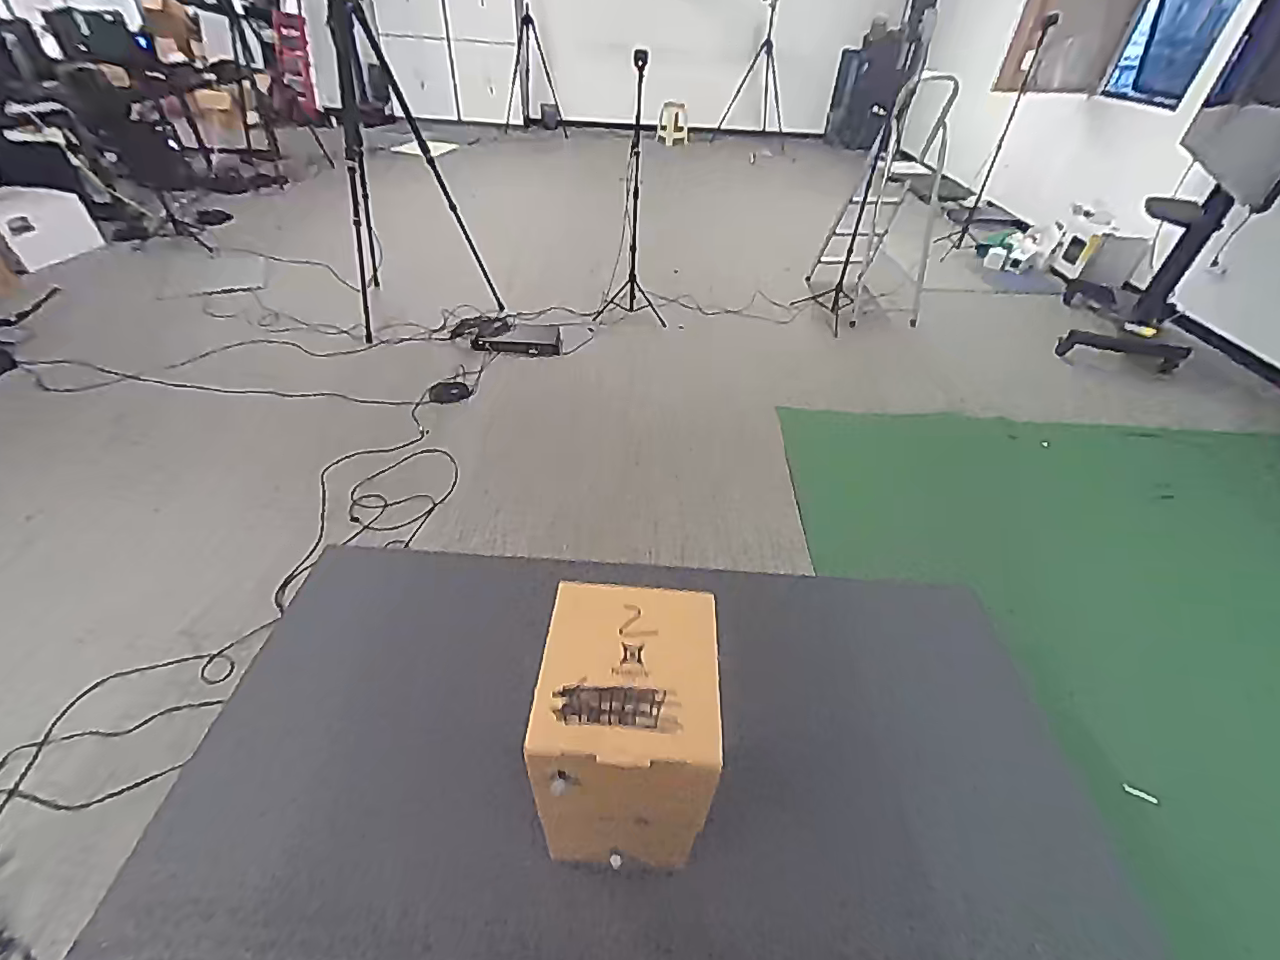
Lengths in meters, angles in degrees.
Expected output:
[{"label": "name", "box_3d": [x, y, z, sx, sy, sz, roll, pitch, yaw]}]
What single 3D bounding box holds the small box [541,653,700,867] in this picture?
[{"label": "small box", "box_3d": [-0.019, 0.339, 0.661, 0.168, 0.176, 0.179, 4, 41, 1]}]
